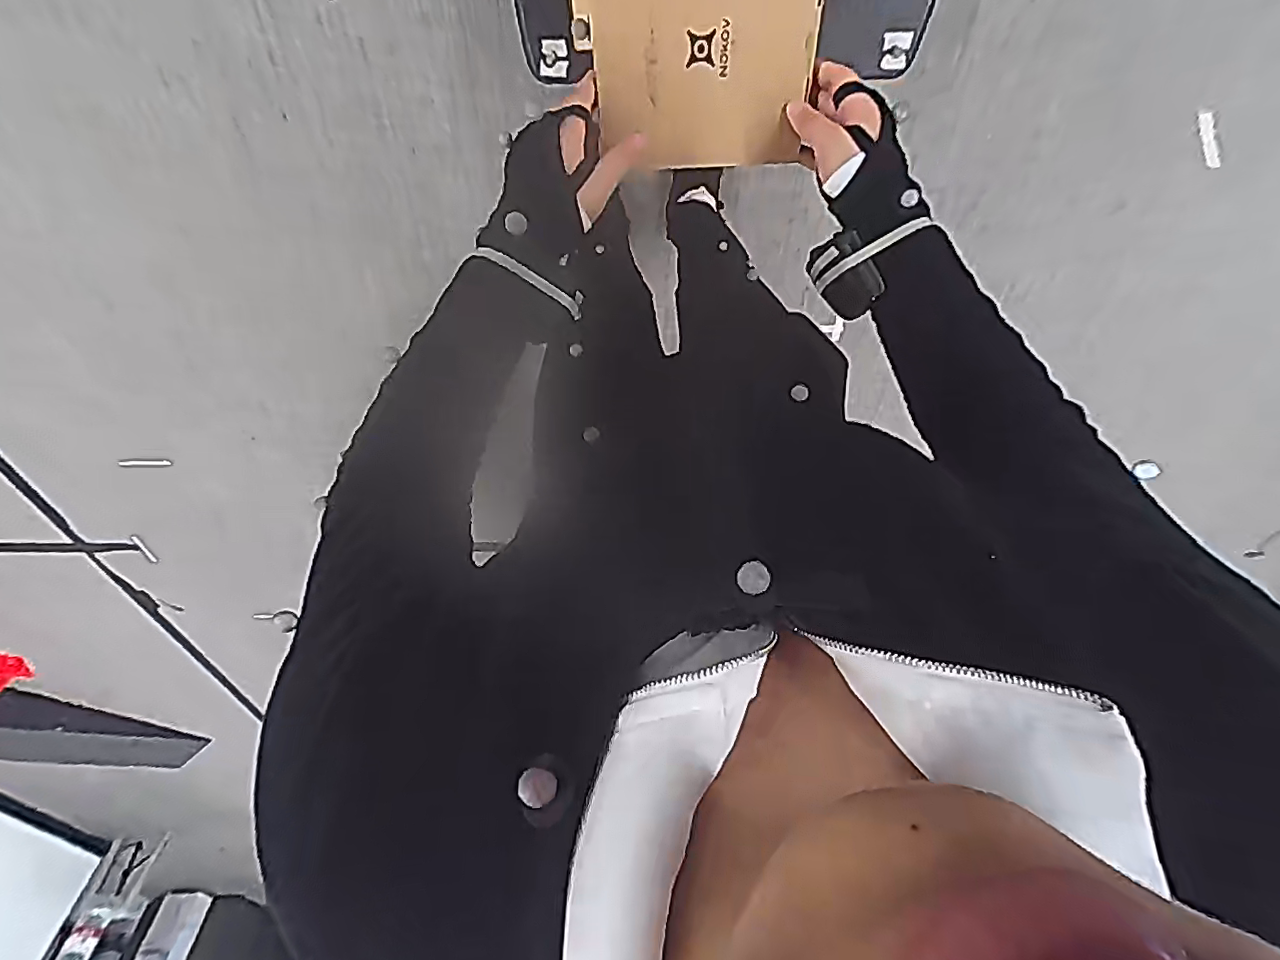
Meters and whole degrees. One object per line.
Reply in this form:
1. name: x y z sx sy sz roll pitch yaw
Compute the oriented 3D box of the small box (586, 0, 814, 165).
1. small box: 0.042 -0.397 0.486 0.179 0.176 0.168 -4 130 -1
